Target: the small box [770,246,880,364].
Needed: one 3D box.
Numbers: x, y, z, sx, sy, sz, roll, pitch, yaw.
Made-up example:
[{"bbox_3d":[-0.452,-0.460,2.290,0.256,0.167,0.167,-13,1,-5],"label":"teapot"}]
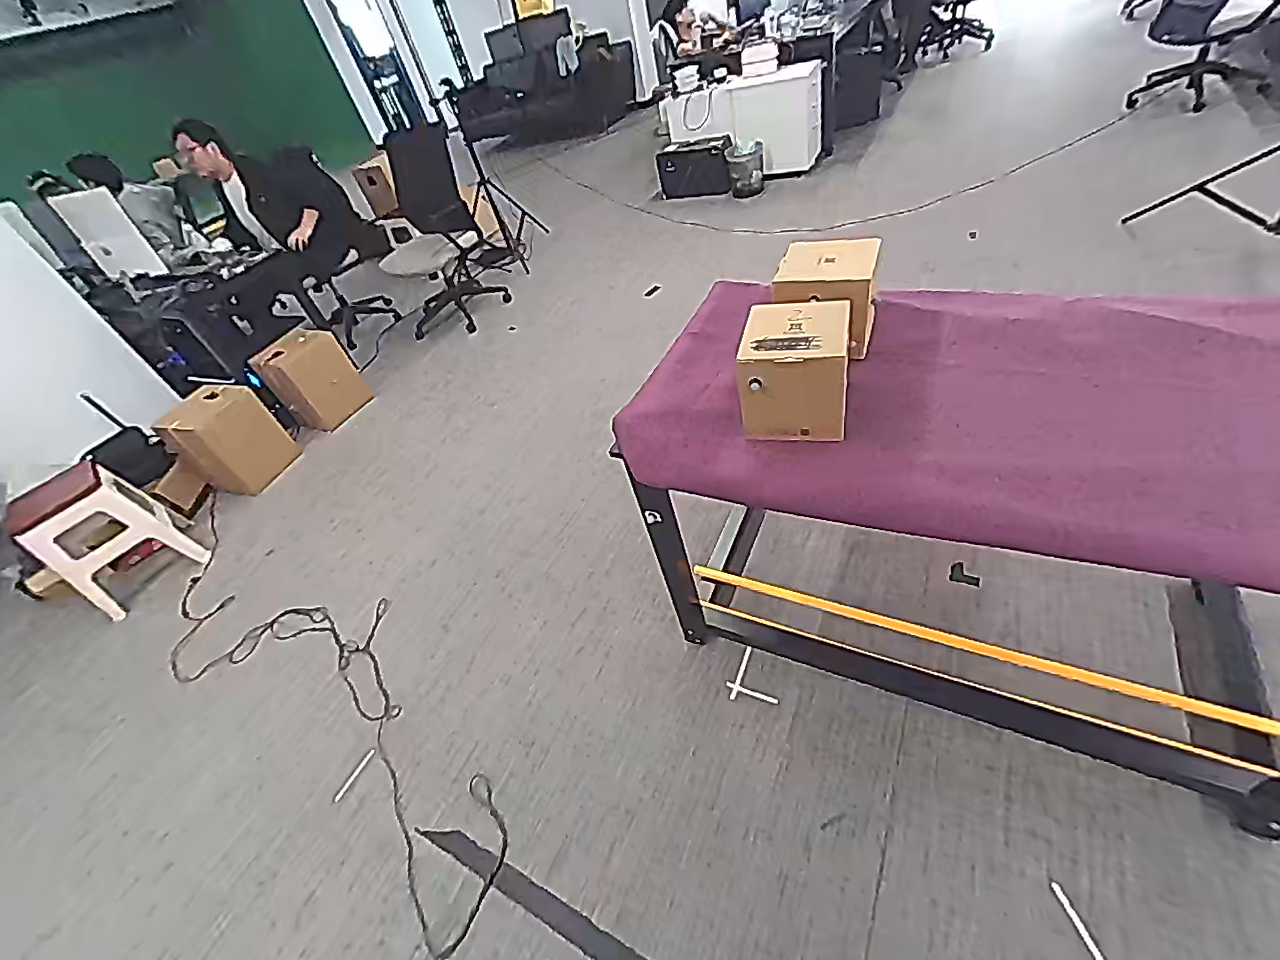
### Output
[{"bbox_3d":[0.369,-0.347,1.080,0.179,0.176,0.168,8,48,25],"label":"small box"}]
